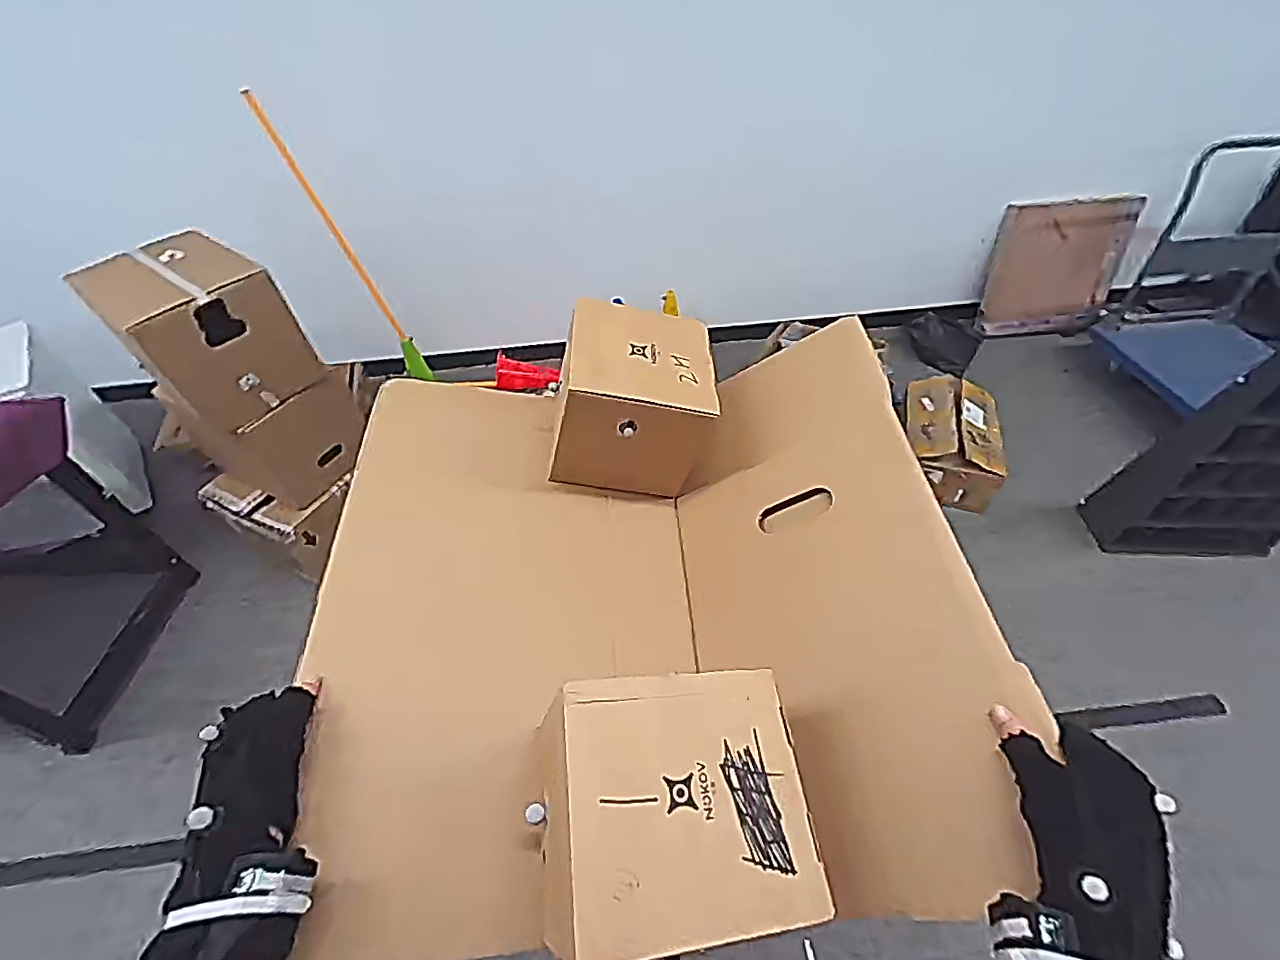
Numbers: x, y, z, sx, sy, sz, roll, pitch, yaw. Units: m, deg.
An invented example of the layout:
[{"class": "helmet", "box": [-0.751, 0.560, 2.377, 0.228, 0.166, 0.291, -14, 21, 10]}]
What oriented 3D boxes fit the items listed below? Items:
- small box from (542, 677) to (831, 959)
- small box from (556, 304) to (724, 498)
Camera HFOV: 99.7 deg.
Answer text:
[{"class": "small box", "box": [0.017, 0.268, 0.443, 0.179, 0.176, 0.168, 3, 55, -15]}, {"class": "small box", "box": [-0.008, -0.094, 0.700, 0.179, 0.176, 0.168, 10, 53, -12]}]
